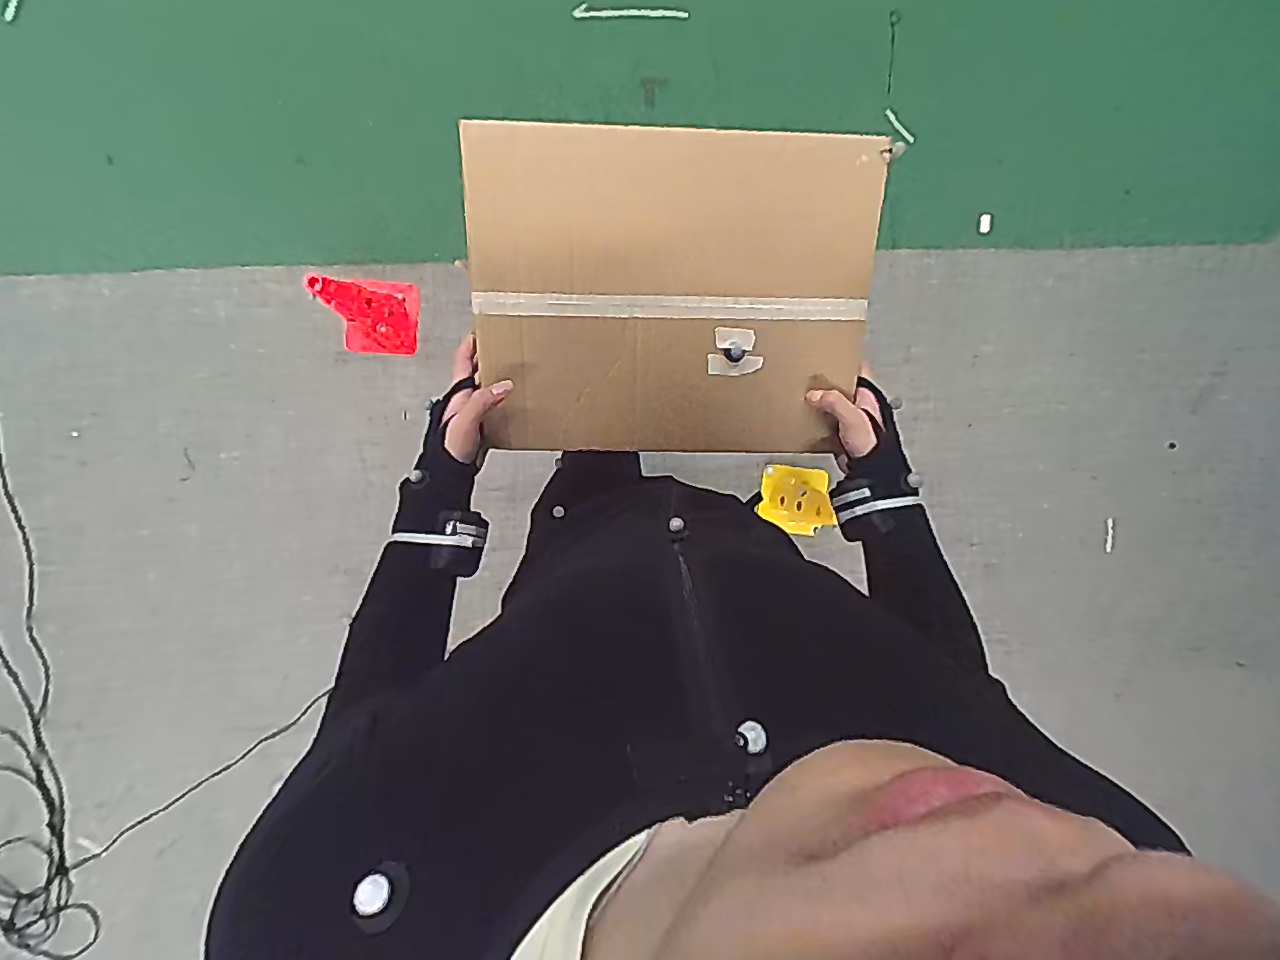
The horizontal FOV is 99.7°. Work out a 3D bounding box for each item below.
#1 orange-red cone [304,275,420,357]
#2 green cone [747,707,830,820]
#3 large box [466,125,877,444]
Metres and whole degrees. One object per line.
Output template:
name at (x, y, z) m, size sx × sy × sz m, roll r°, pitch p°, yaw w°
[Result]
orange-red cone at (-0.719, -0.437, 1.347) m, size 0.199 × 0.360 × 0.198 m, roll 5°, pitch 94°, yaw -2°
green cone at (0.447, 0.819, 1.519) m, size 0.200 × 0.368 × 0.202 m, roll 3°, pitch 93°, yaw -4°
large box at (0.025, -0.238, 0.703) m, size 0.408 × 0.320 × 0.320 m, roll -1°, pitch 110°, yaw -3°
